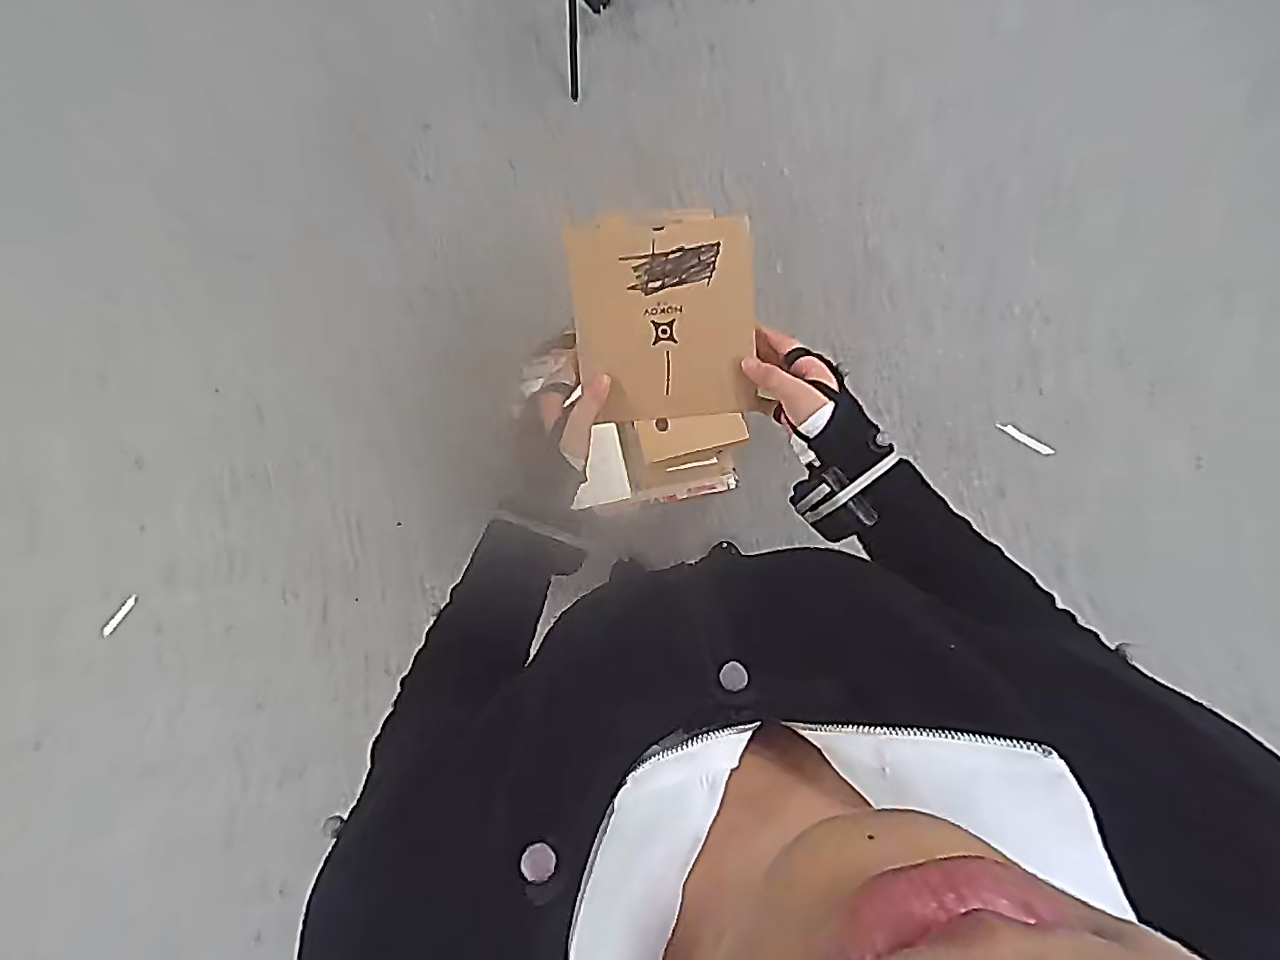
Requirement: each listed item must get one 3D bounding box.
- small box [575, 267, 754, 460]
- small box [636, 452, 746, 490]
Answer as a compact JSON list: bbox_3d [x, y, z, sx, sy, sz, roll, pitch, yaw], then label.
[{"bbox_3d":[0.023,-0.118,0.591,0.168,0.176,0.179,-4,97,0],"label":"small box"},{"bbox_3d":[0.074,-0.083,0.988,0.179,0.176,0.168,-15,84,-1],"label":"small box"}]
